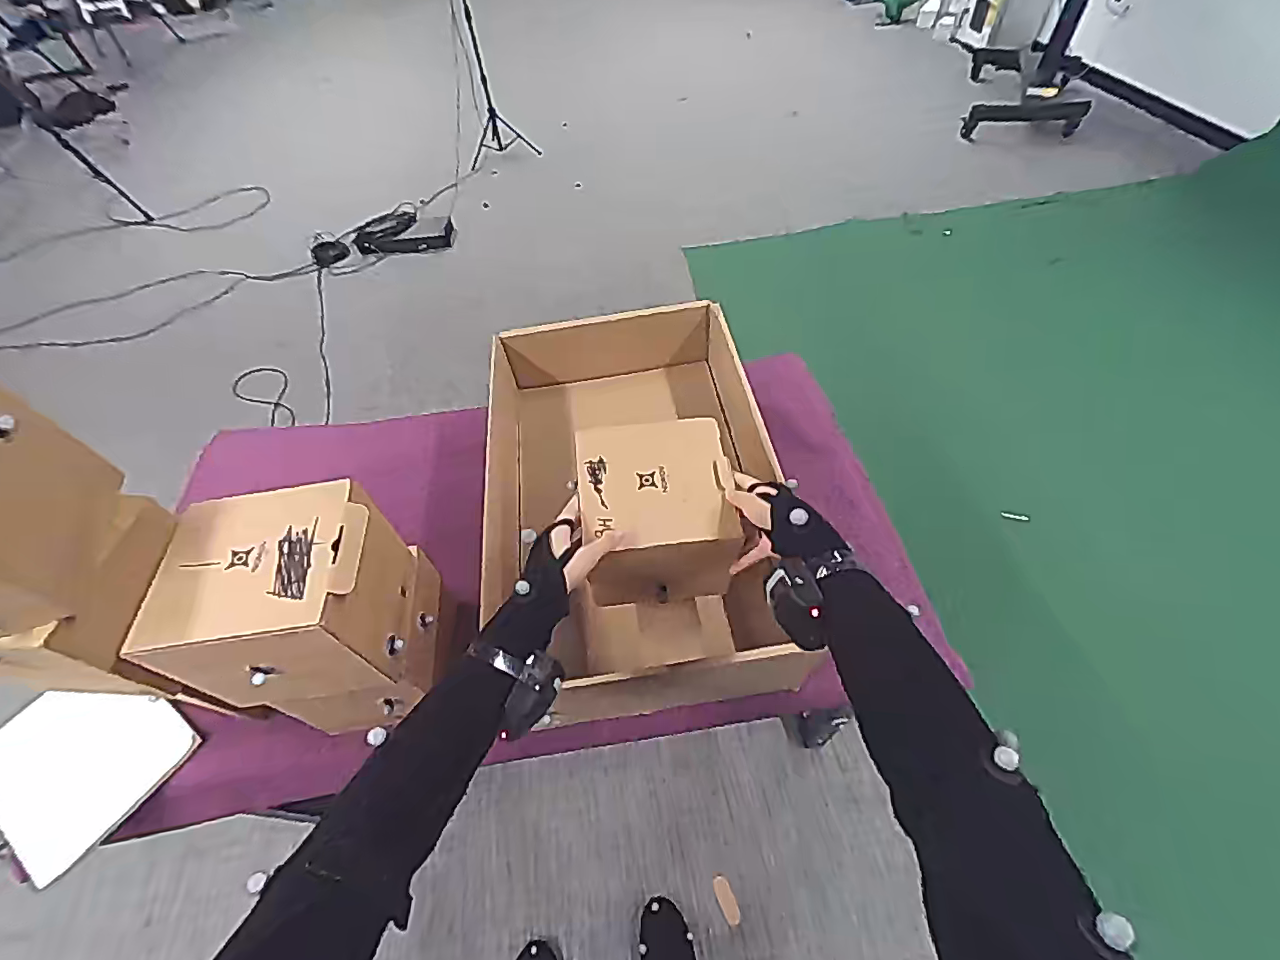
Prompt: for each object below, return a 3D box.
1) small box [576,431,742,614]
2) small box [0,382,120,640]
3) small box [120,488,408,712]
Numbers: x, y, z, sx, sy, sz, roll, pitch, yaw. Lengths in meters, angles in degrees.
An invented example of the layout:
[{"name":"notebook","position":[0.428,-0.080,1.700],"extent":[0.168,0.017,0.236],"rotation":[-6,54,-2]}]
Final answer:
[{"name":"small box","position":[0.014,0.057,0.681],"extent":[0.179,0.176,0.168],"rotation":[-5,56,-4]},{"name":"small box","position":[-0.619,0.035,0.470],"extent":[0.168,0.176,0.179],"rotation":[-17,53,-7]},{"name":"small box","position":[-0.371,0.133,0.581],"extent":[0.179,0.176,0.168],"rotation":[-8,51,-3]}]
